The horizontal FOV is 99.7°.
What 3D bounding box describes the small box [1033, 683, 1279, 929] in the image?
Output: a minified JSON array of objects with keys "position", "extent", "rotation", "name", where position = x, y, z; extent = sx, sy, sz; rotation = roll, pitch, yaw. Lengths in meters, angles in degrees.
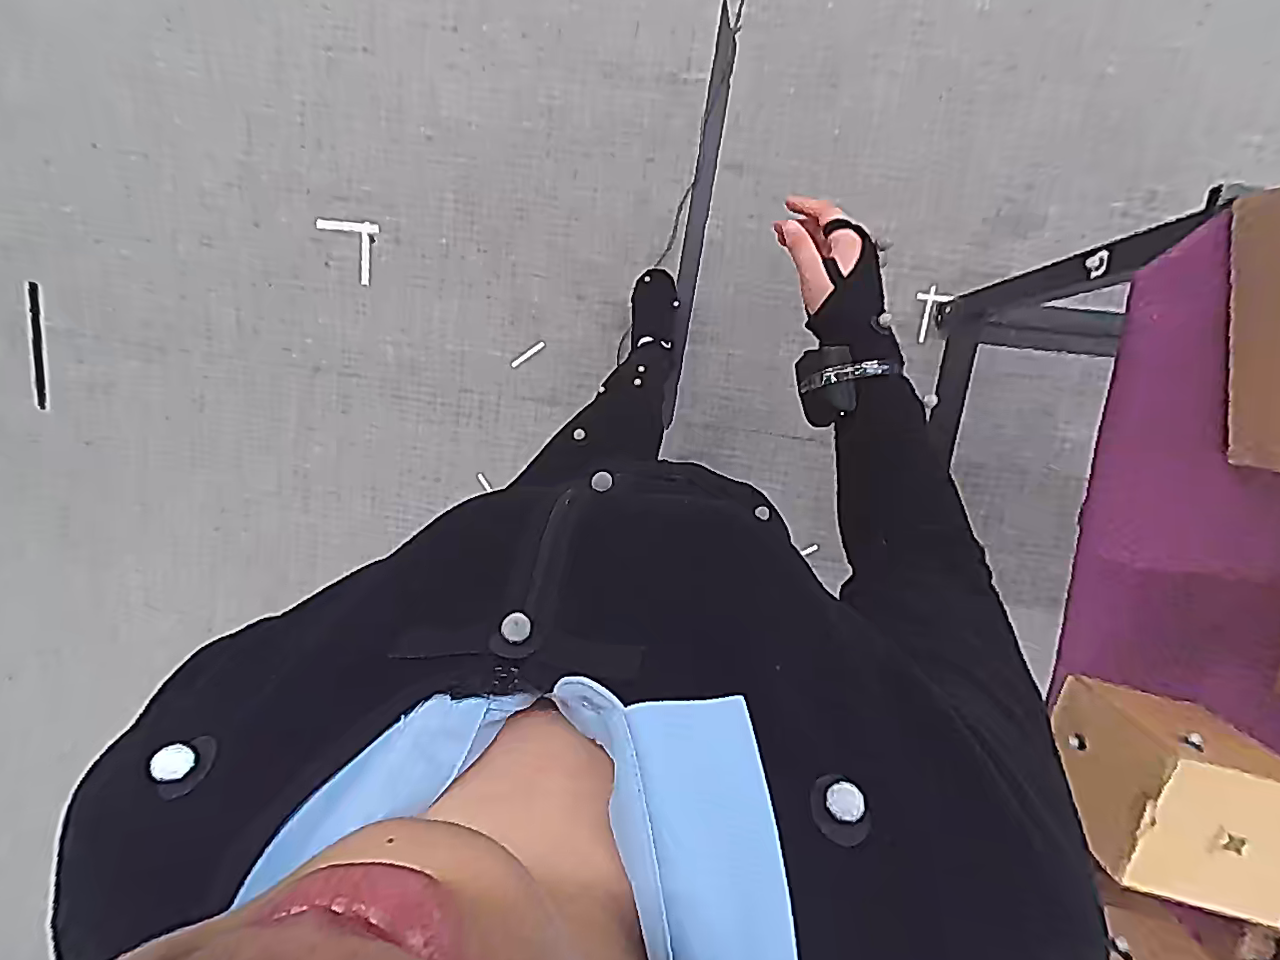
[{"position":[0.630,0.371,0.647],"extent":[0.179,0.176,0.168],"rotation":[14,100,4],"name":"small box"}]
